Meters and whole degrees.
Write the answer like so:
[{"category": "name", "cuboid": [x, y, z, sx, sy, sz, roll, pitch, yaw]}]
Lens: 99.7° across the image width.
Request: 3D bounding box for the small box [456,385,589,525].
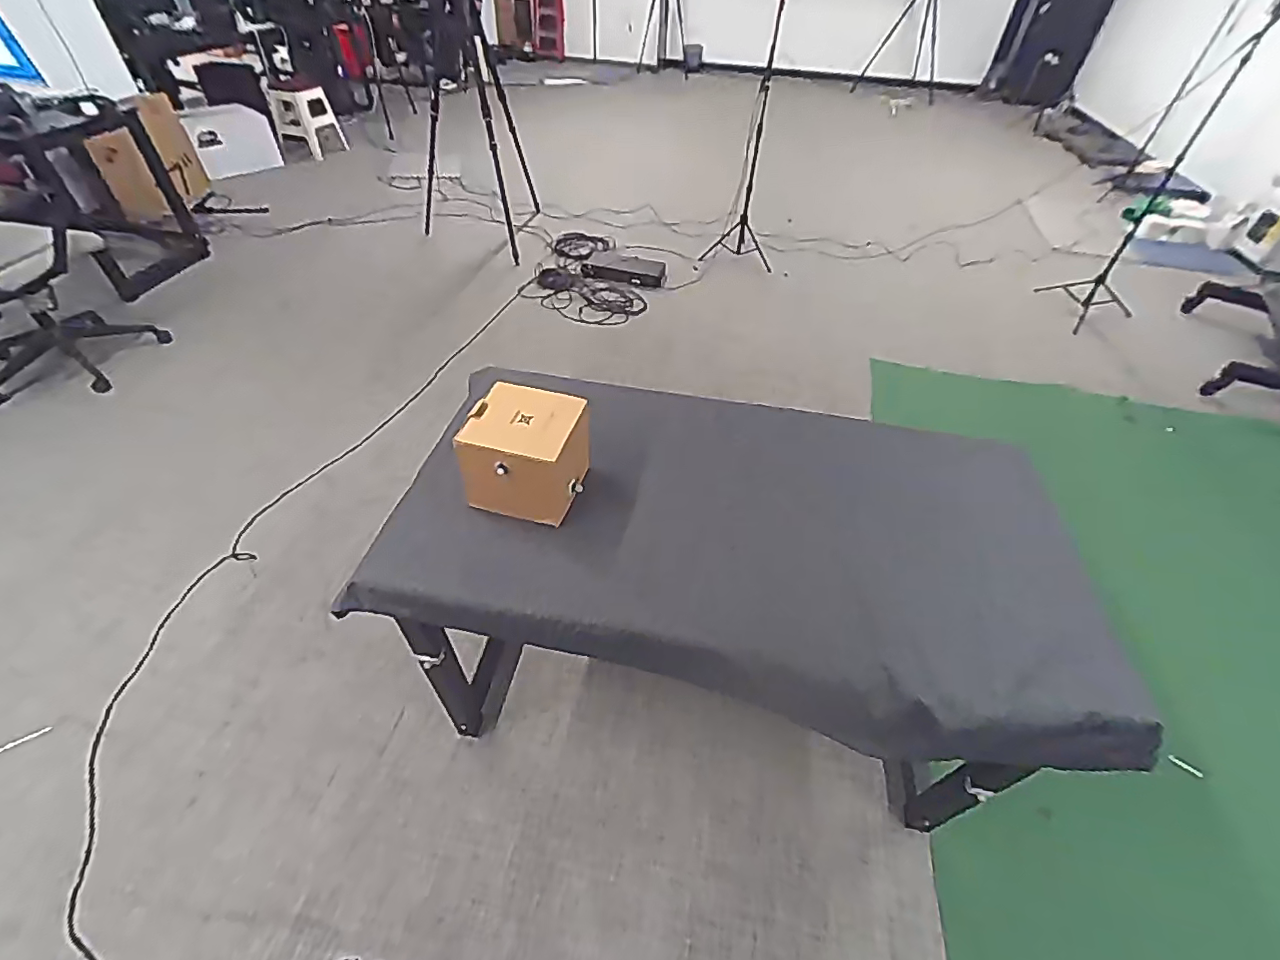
[{"category": "small box", "cuboid": [-0.198, -0.042, 0.965, 0.179, 0.176, 0.168, 13, 48, 7]}]
